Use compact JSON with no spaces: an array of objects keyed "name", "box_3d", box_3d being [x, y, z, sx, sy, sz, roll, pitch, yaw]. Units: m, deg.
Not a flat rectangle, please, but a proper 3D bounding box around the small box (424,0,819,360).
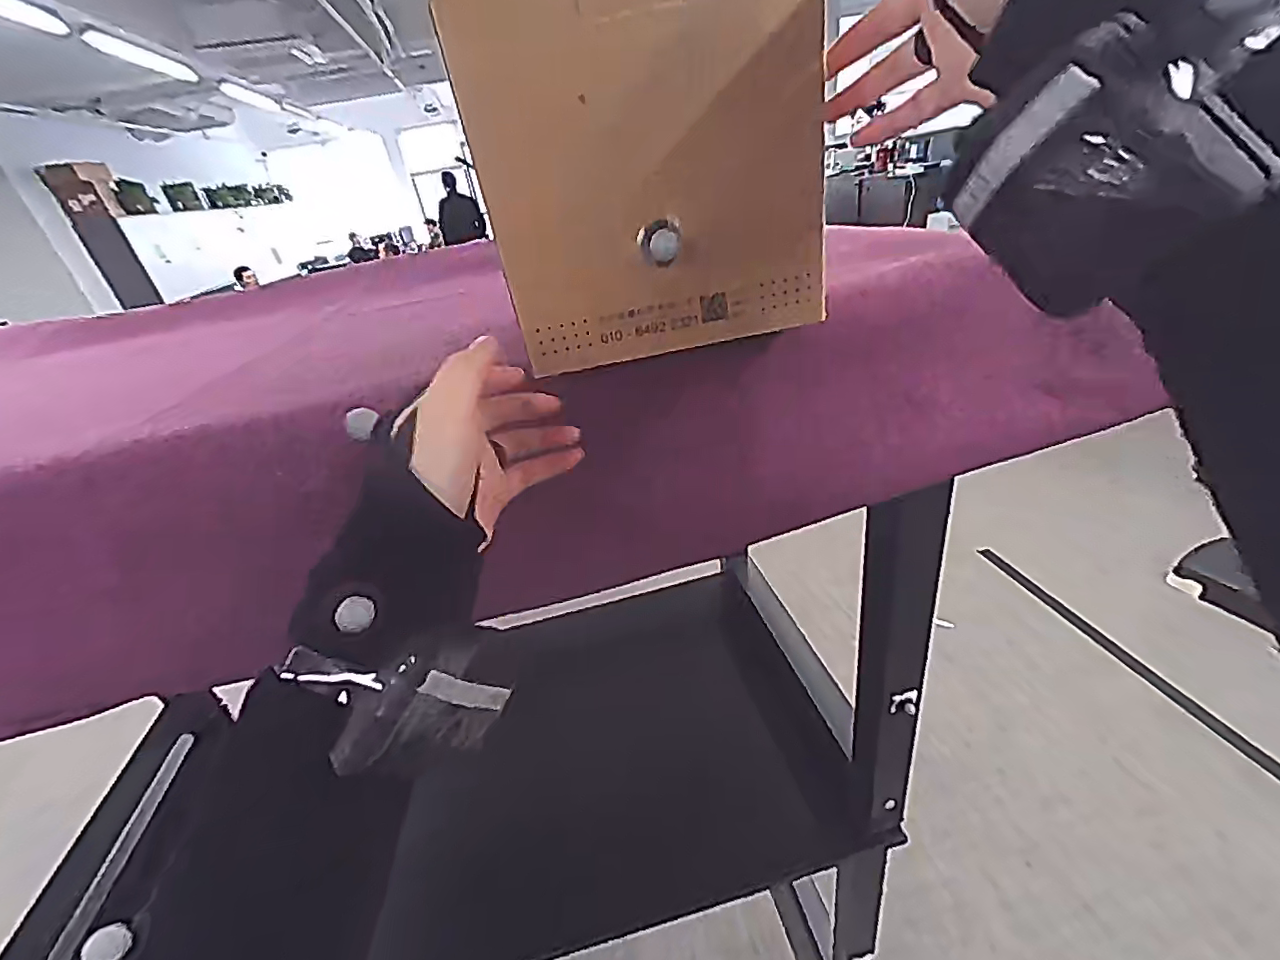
[{"name":"small box","box_3d":[-0.004,-0.185,0.325,0.168,0.176,0.179,-12,30,0]}]
